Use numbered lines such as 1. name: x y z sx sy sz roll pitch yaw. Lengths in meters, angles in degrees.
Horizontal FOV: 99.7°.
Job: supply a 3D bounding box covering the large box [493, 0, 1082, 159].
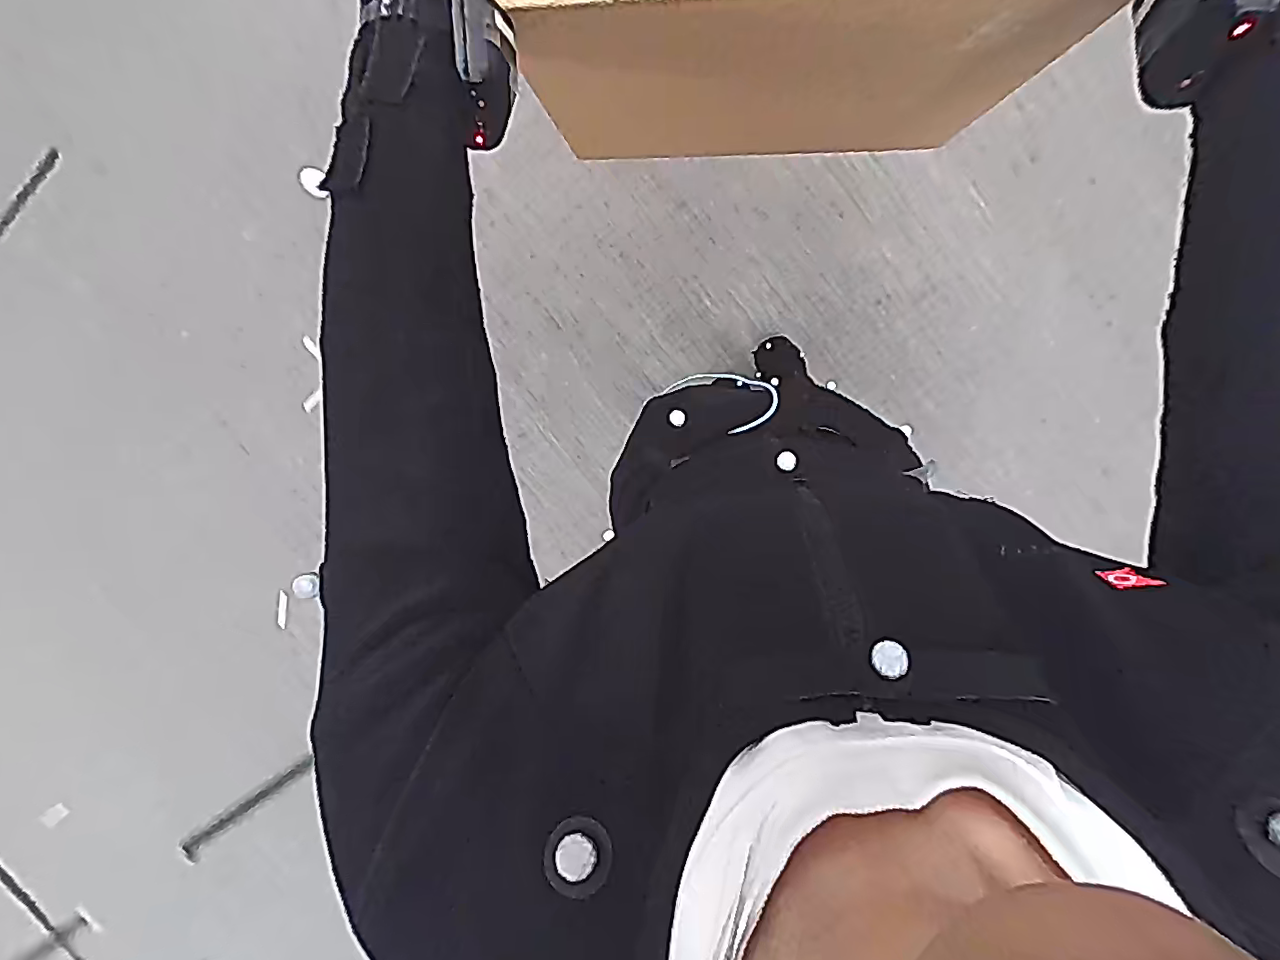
1. large box: 0.105 -0.485 0.431 0.408 0.320 0.320 -1 106 5
